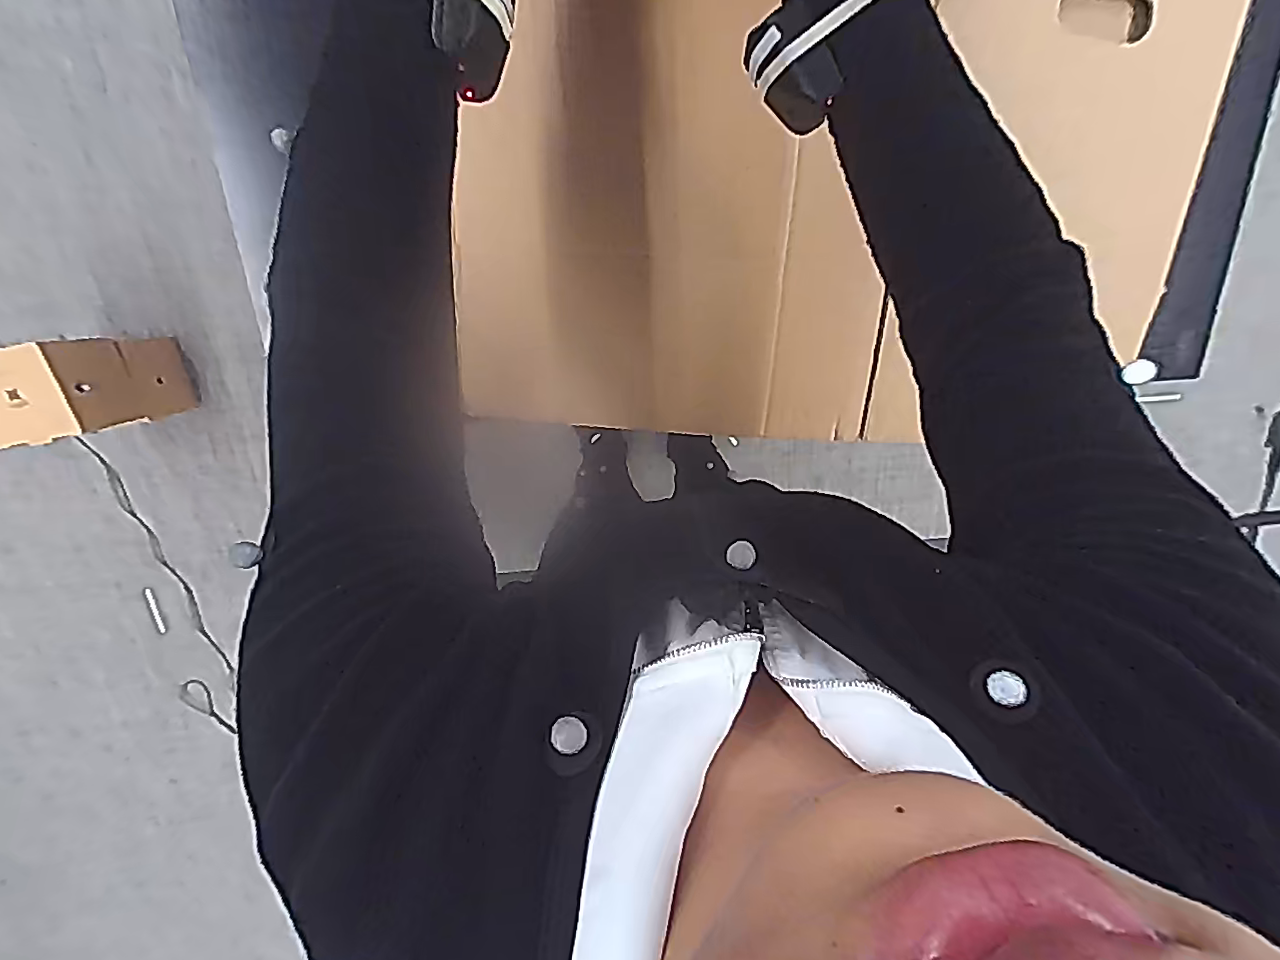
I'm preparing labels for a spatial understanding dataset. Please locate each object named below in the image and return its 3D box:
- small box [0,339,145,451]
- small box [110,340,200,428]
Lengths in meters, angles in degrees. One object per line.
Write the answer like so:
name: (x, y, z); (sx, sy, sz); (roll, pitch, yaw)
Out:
small box: (-1.143, -0.173, 1.063); (0.168, 0.176, 0.179); (-11, 108, -3)
small box: (-1.156, -0.218, 1.219); (0.168, 0.176, 0.179); (-8, 109, -3)
